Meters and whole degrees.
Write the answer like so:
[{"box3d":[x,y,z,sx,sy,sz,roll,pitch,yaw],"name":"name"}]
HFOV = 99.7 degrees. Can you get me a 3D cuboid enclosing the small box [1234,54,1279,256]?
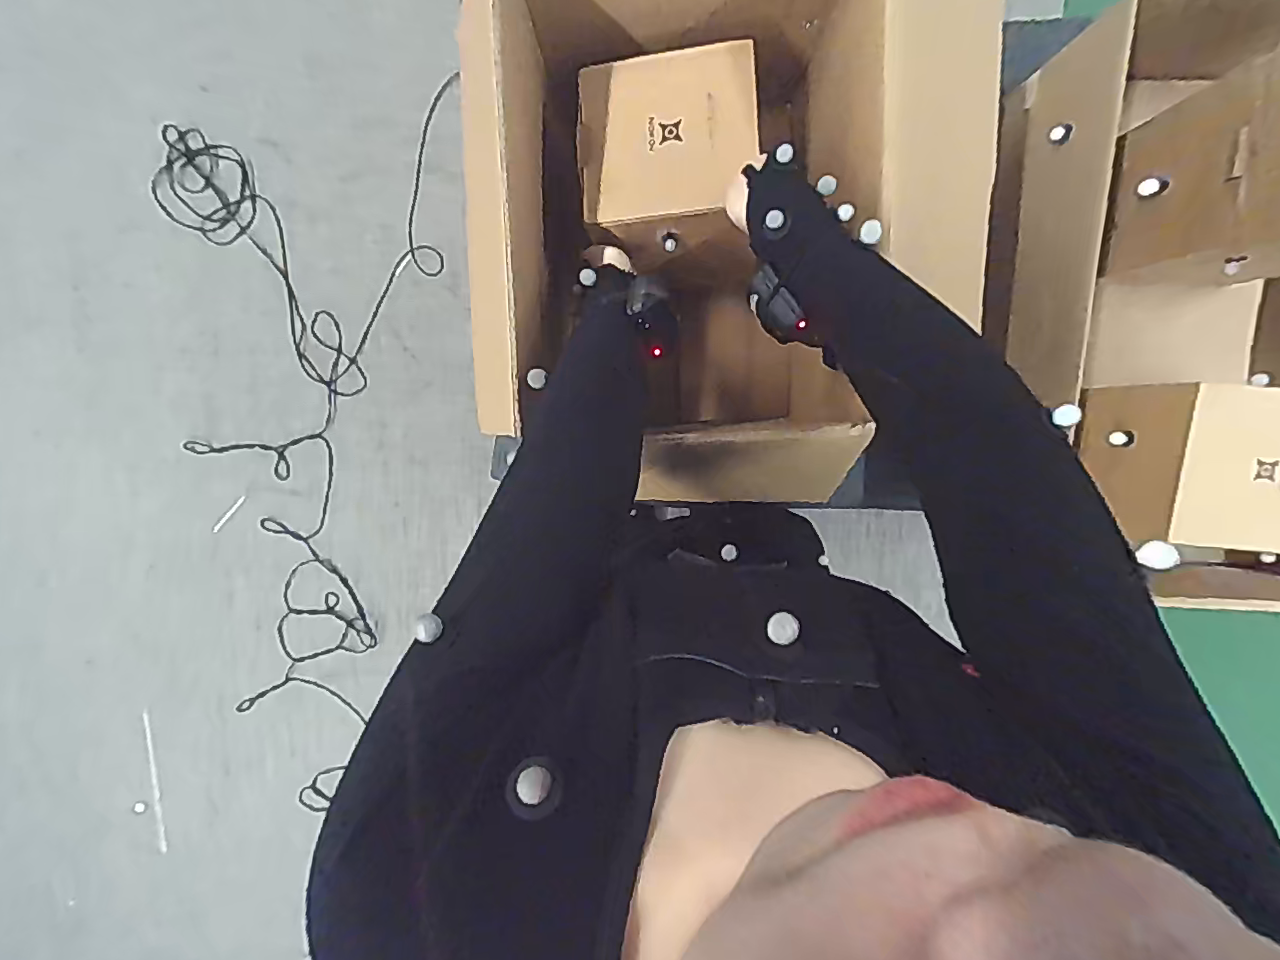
[{"box3d":[0.641,-0.287,0.423,0.168,0.176,0.179,1,99,2],"name":"small box"}]
